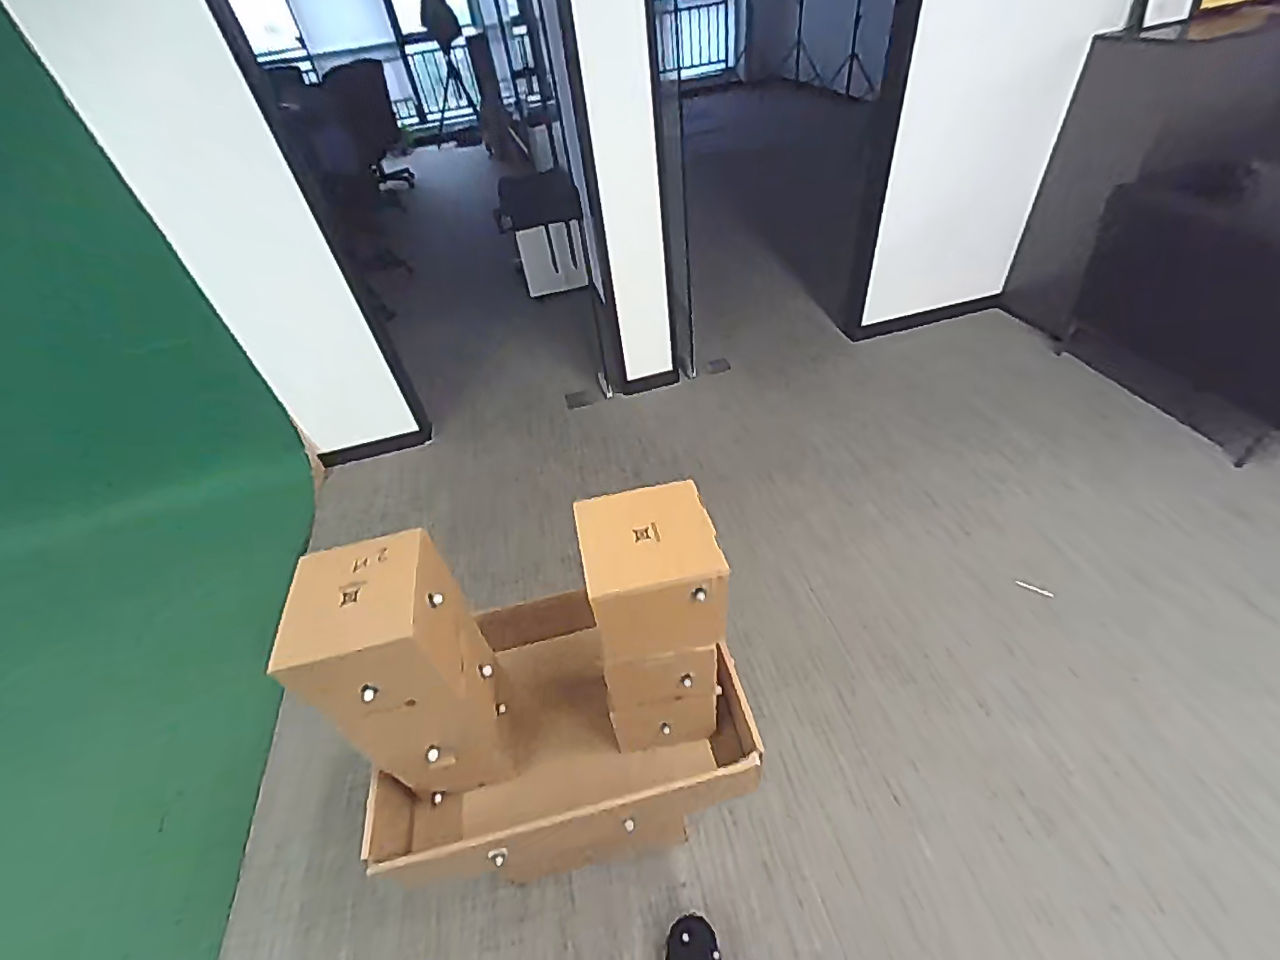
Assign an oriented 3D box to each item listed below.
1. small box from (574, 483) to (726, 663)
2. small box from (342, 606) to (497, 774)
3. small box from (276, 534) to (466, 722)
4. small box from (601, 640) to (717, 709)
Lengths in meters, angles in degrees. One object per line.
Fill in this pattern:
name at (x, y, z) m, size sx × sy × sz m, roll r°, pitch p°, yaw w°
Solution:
small box at (0.014, 0.133, 0.757) m, size 0.179 × 0.176 × 0.168 m, roll -11°, pitch 43°, yaw -6°
small box at (-0.330, 0.329, 0.848) m, size 0.179 × 0.176 × 0.168 m, roll -14°, pitch 43°, yaw -7°
small box at (-0.346, 0.207, 0.737) m, size 0.168 × 0.176 × 0.179 m, roll -13°, pitch 43°, yaw -4°
small box at (0.028, 0.249, 0.870) m, size 0.168 × 0.176 × 0.179 m, roll -8°, pitch 42°, yaw -1°
